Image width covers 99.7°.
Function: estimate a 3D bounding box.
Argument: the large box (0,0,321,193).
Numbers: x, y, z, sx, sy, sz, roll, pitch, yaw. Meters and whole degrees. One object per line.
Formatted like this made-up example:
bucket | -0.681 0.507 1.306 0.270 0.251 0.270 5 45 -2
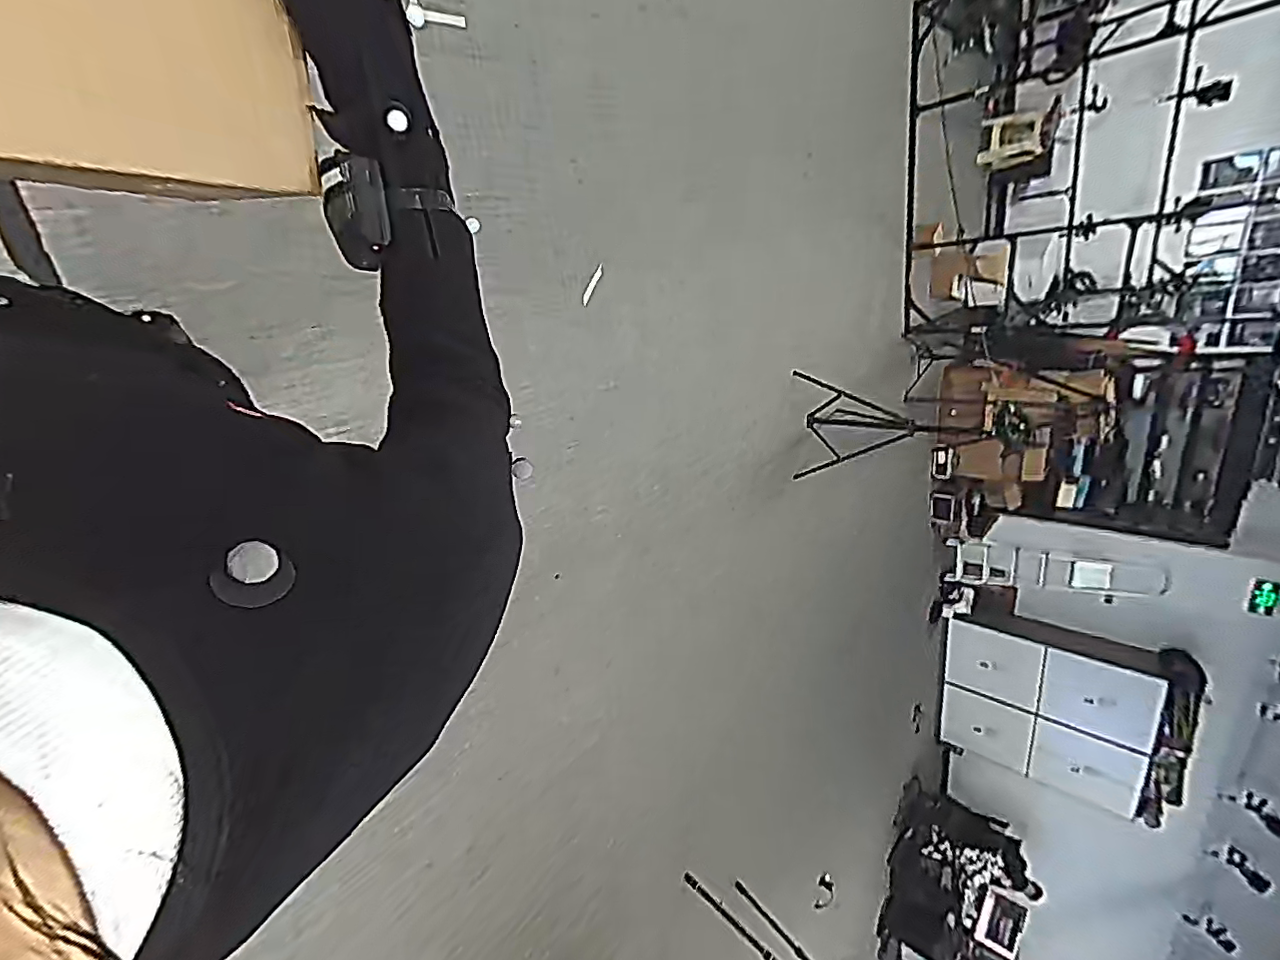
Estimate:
large box | -0.465 -0.349 0.289 0.408 0.320 0.320 -19 123 -43
